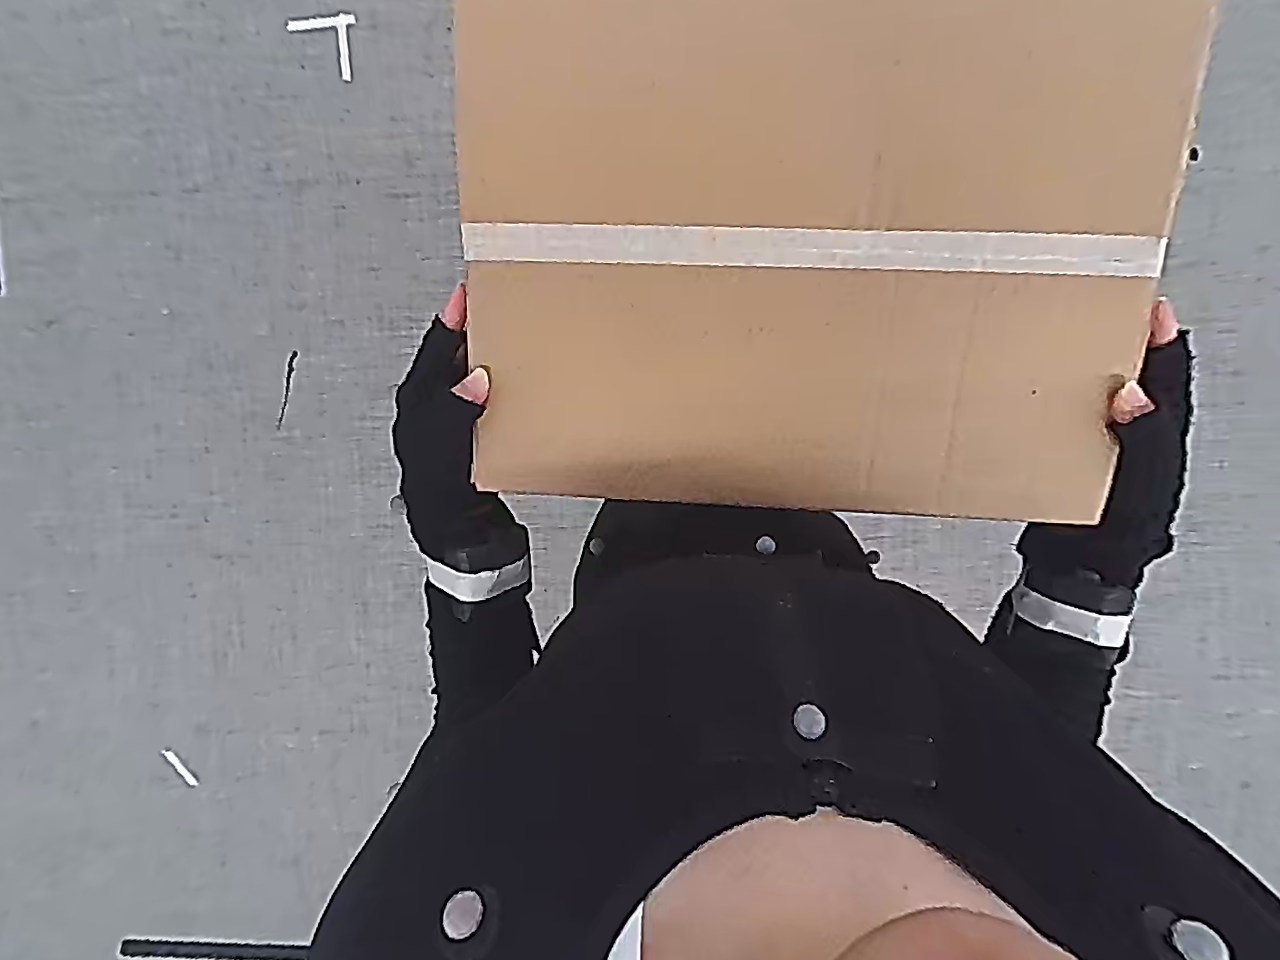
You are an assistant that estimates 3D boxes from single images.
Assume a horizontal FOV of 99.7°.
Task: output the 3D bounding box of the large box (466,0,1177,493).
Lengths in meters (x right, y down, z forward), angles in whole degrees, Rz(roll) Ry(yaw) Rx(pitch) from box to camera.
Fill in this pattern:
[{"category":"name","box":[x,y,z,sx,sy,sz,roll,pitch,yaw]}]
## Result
[{"category":"large box","box":[0.100,-0.178,0.478,0.408,0.320,0.320,3,103,3]}]
